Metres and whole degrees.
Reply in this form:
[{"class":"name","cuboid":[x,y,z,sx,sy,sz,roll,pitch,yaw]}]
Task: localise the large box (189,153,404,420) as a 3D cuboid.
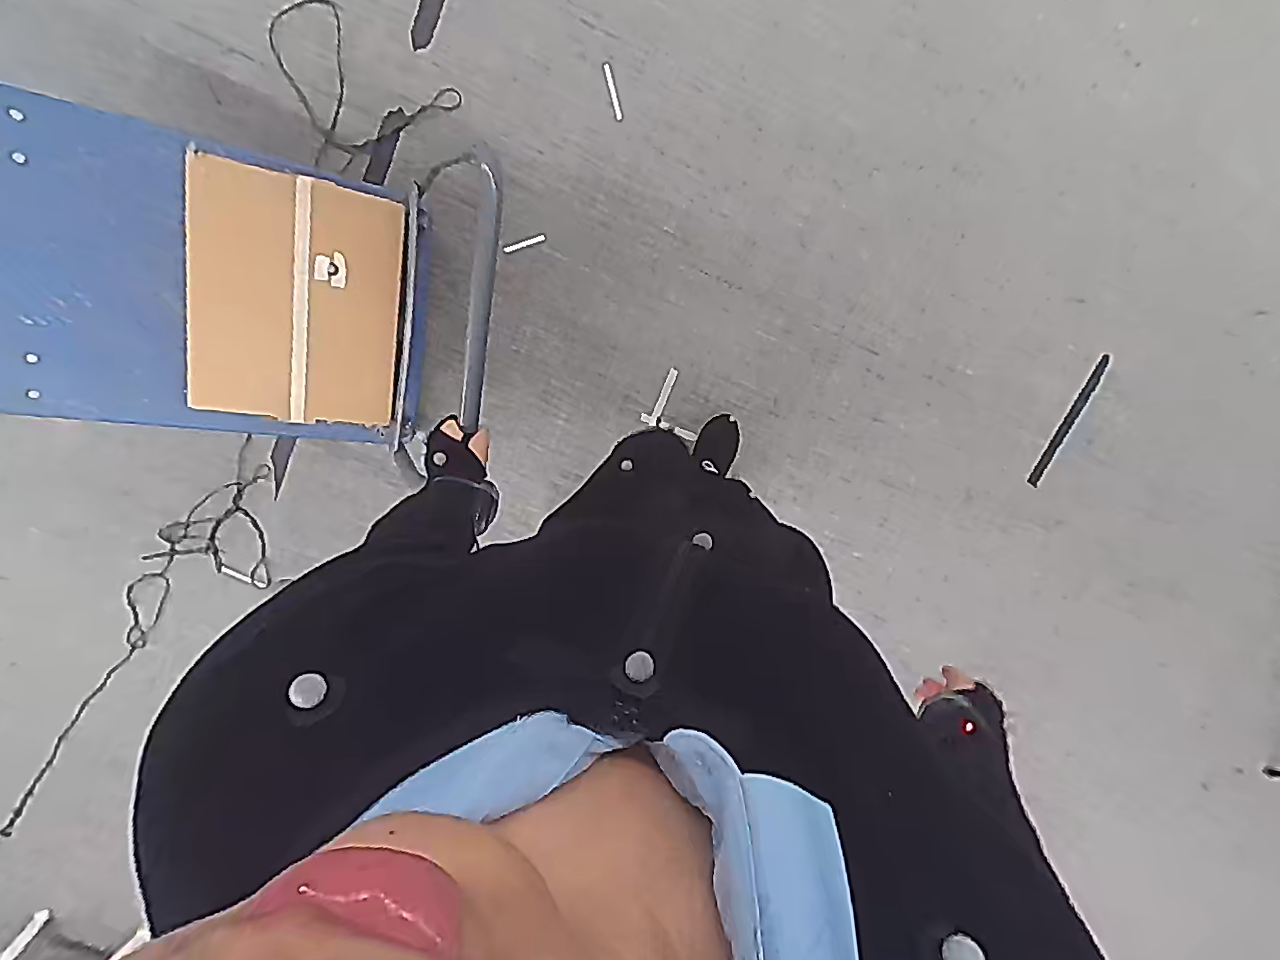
[{"class":"large box","cuboid":[-0.651,-0.346,1.075,0.320,0.320,0.408,3,102,-27]}]
